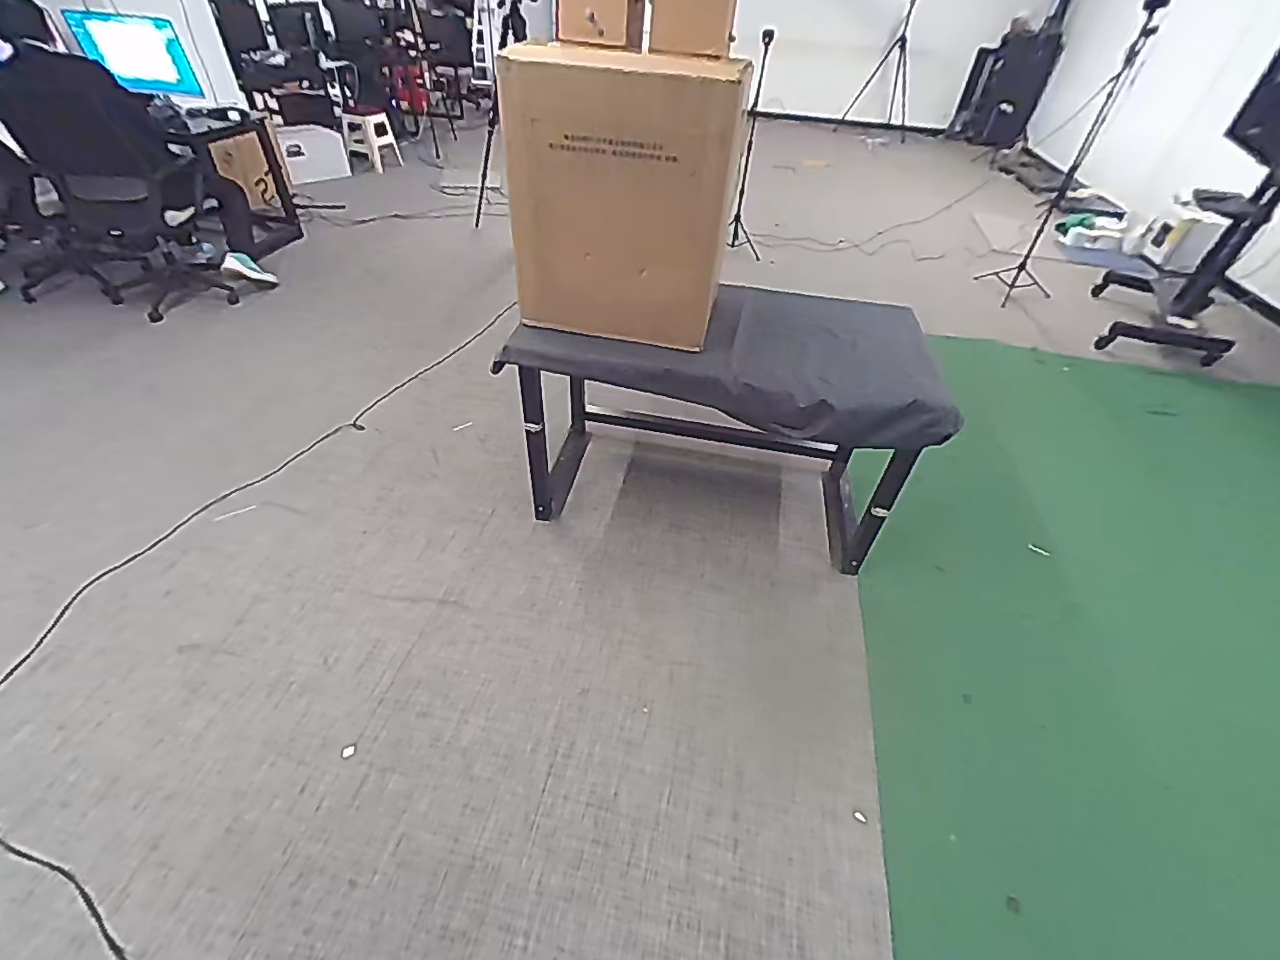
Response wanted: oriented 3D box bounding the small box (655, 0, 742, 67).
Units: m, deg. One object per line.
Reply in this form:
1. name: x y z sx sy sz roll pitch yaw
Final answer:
1. small box: 0.138 -1.079 1.261 0.179 0.176 0.168 12 40 6
